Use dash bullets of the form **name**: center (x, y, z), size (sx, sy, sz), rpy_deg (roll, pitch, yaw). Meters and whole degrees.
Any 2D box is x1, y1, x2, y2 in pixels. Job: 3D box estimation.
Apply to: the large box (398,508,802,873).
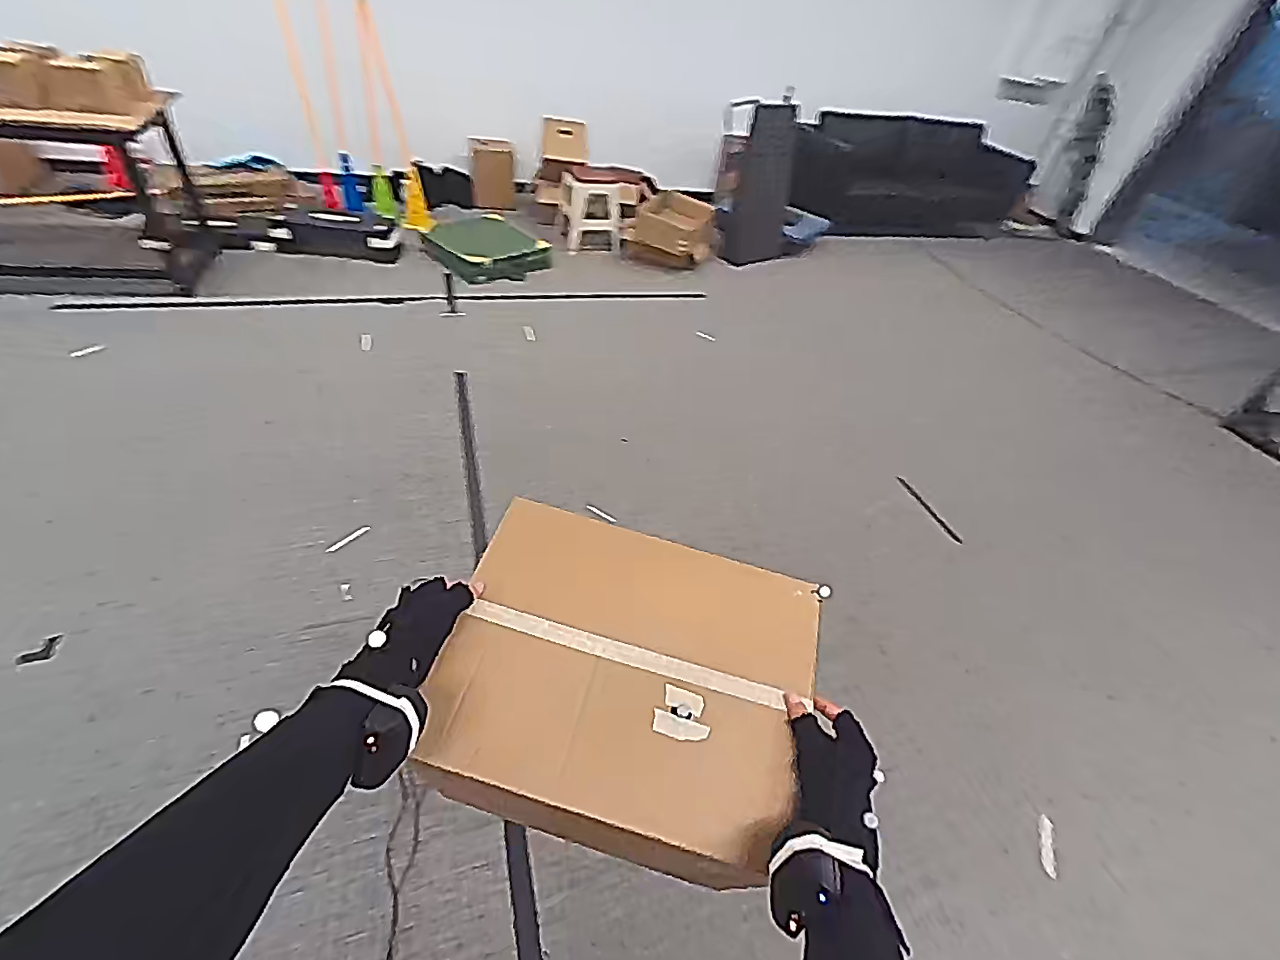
- **large box**: center (-0.036, 0.288, 0.727), size (0.408, 0.320, 0.320), rpy_deg (15, 52, 2)
